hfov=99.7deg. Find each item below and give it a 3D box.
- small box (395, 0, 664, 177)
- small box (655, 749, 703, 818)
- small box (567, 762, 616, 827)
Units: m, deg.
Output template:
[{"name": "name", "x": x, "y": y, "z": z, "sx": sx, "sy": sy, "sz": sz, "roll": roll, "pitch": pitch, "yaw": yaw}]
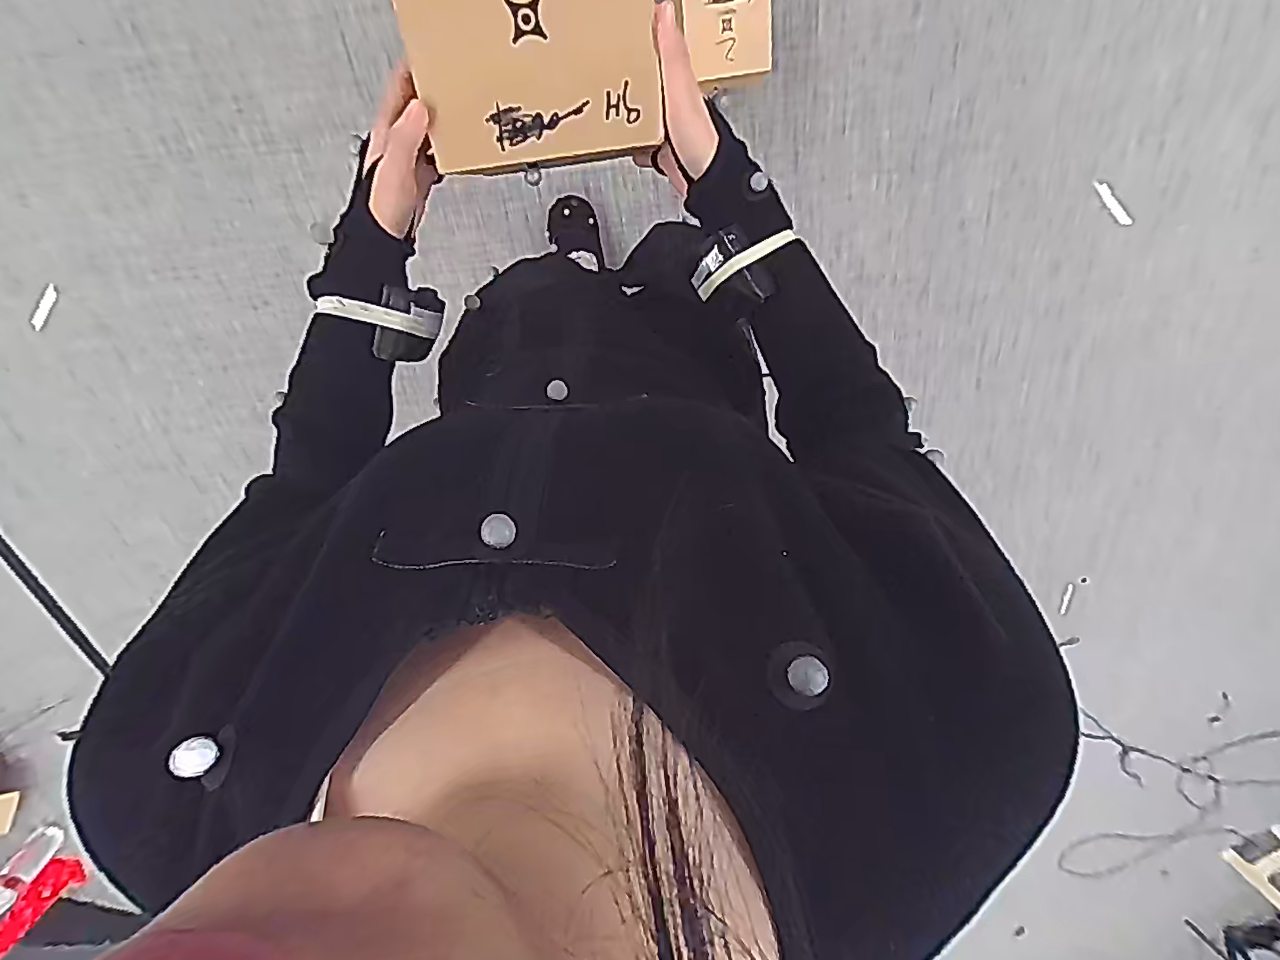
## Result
[{"name": "small box", "x": -0.078, "y": -0.341, "z": 0.412, "sx": 0.168, "sy": 0.176, "sz": 0.179, "roll": -8, "pitch": 119, "yaw": 0}, {"name": "small box", "x": 0.158, "y": 1.226, "z": 2.186, "sx": 0.168, "sy": 0.176, "sz": 0.179, "roll": -9, "pitch": 118, "yaw": 0}, {"name": "small box", "x": -0.197, "y": 1.264, "z": 2.180, "sx": 0.179, "sy": 0.176, "sz": 0.168, "roll": 6, "pitch": 117, "yaw": -9}]
